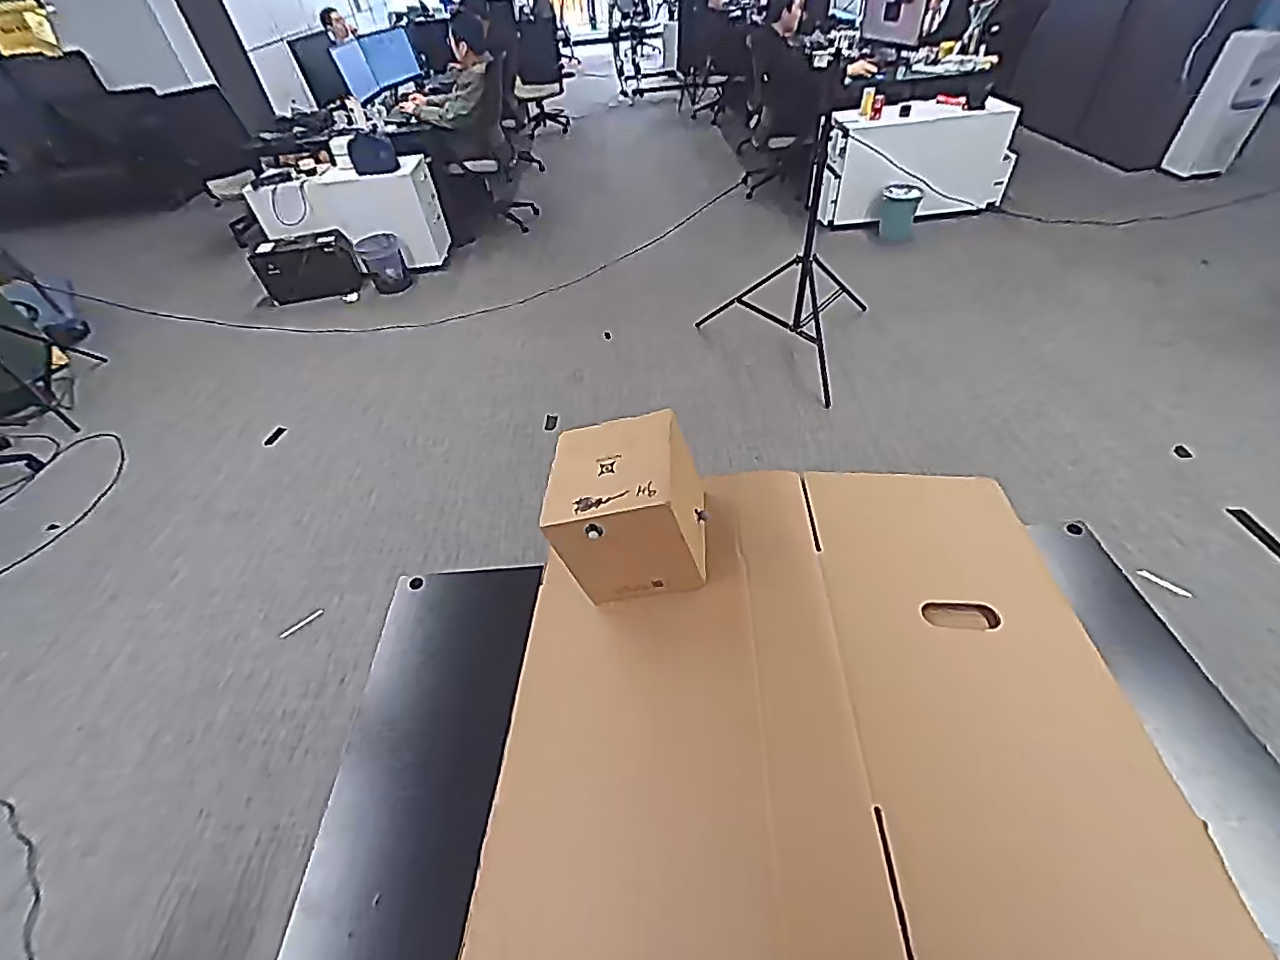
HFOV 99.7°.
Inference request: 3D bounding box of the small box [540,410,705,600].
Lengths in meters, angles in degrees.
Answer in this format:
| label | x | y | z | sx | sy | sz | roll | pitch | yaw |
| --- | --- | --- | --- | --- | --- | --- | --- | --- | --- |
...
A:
| label | x | y | z | sx | sy | sz | roll | pitch | yaw |
| --- | --- | --- | --- | --- | --- | --- | --- | --- | --- |
| small box | -0.011 | 0.037 | 0.731 | 0.168 | 0.176 | 0.179 | -12 | 42 | 16 |
